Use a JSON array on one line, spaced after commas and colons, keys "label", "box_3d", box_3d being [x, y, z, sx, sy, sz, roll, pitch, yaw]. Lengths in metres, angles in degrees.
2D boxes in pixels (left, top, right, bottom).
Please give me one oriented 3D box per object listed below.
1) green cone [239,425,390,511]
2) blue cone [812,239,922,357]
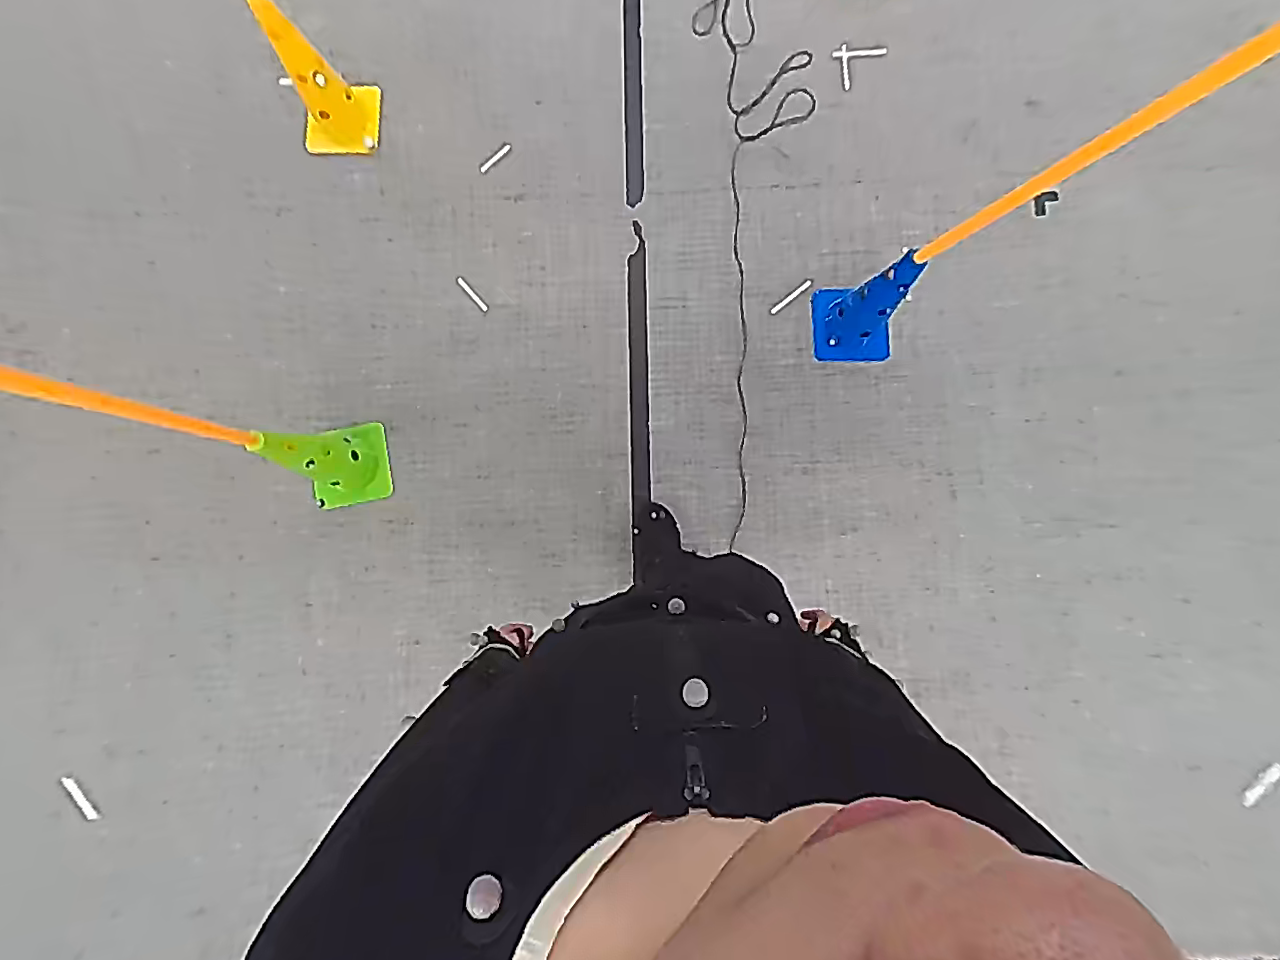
[{"label": "green cone", "box_3d": [-0.753, -0.057, 1.225, 0.200, 0.368, 0.202, -12, 82, -1]}, {"label": "blue cone", "box_3d": [0.557, -0.438, 1.276, 0.193, 0.380, 0.192, 1, 83, 0]}]
